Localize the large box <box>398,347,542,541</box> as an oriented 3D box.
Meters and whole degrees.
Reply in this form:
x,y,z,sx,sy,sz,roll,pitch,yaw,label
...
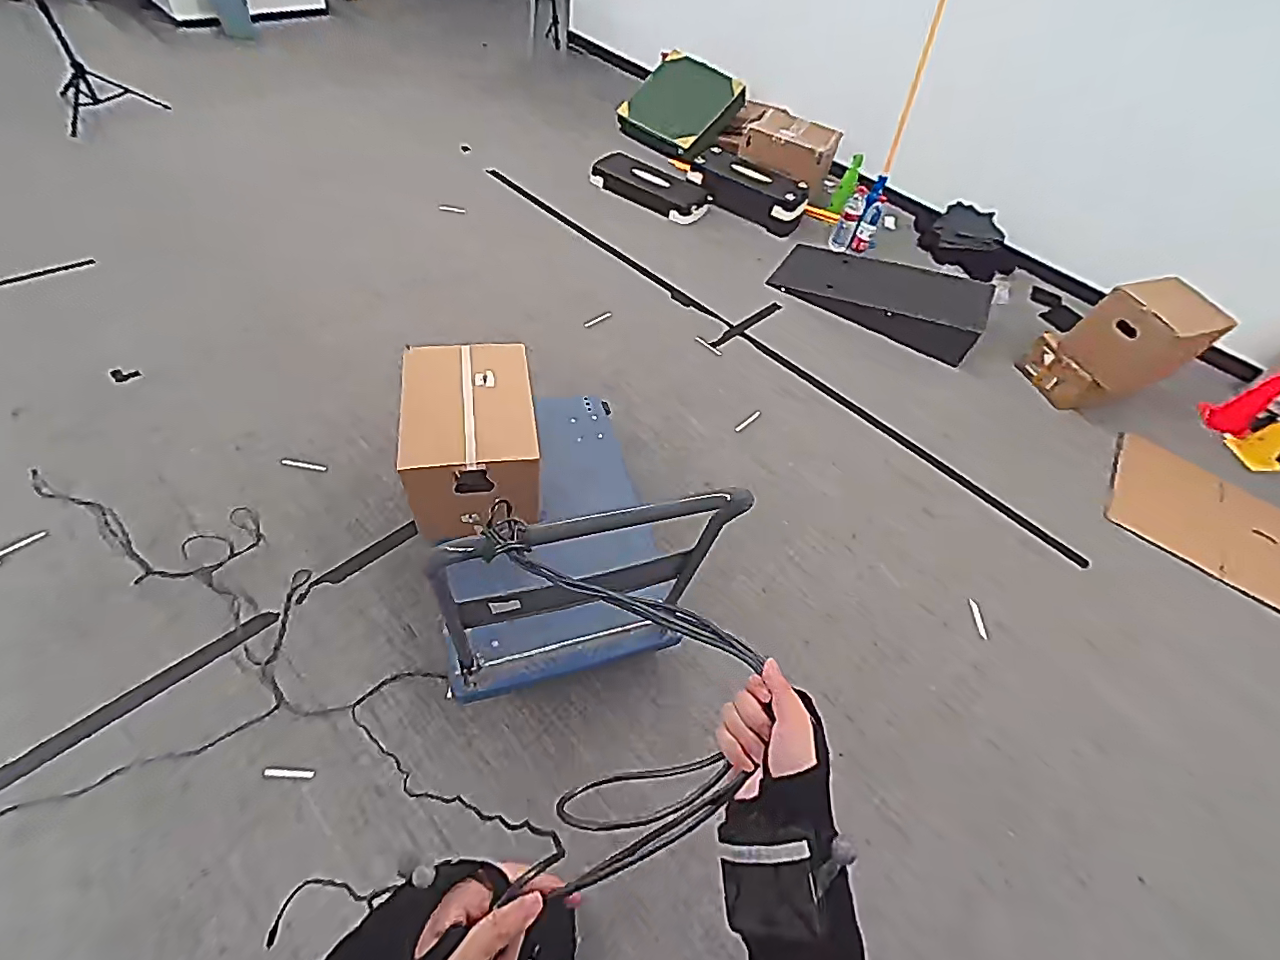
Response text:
x,y,z,sx,sy,sz,roll,pitch,yaw,label
-0.441,-0.099,1.438,0.320,0.320,0.408,-5,54,-14,large box
